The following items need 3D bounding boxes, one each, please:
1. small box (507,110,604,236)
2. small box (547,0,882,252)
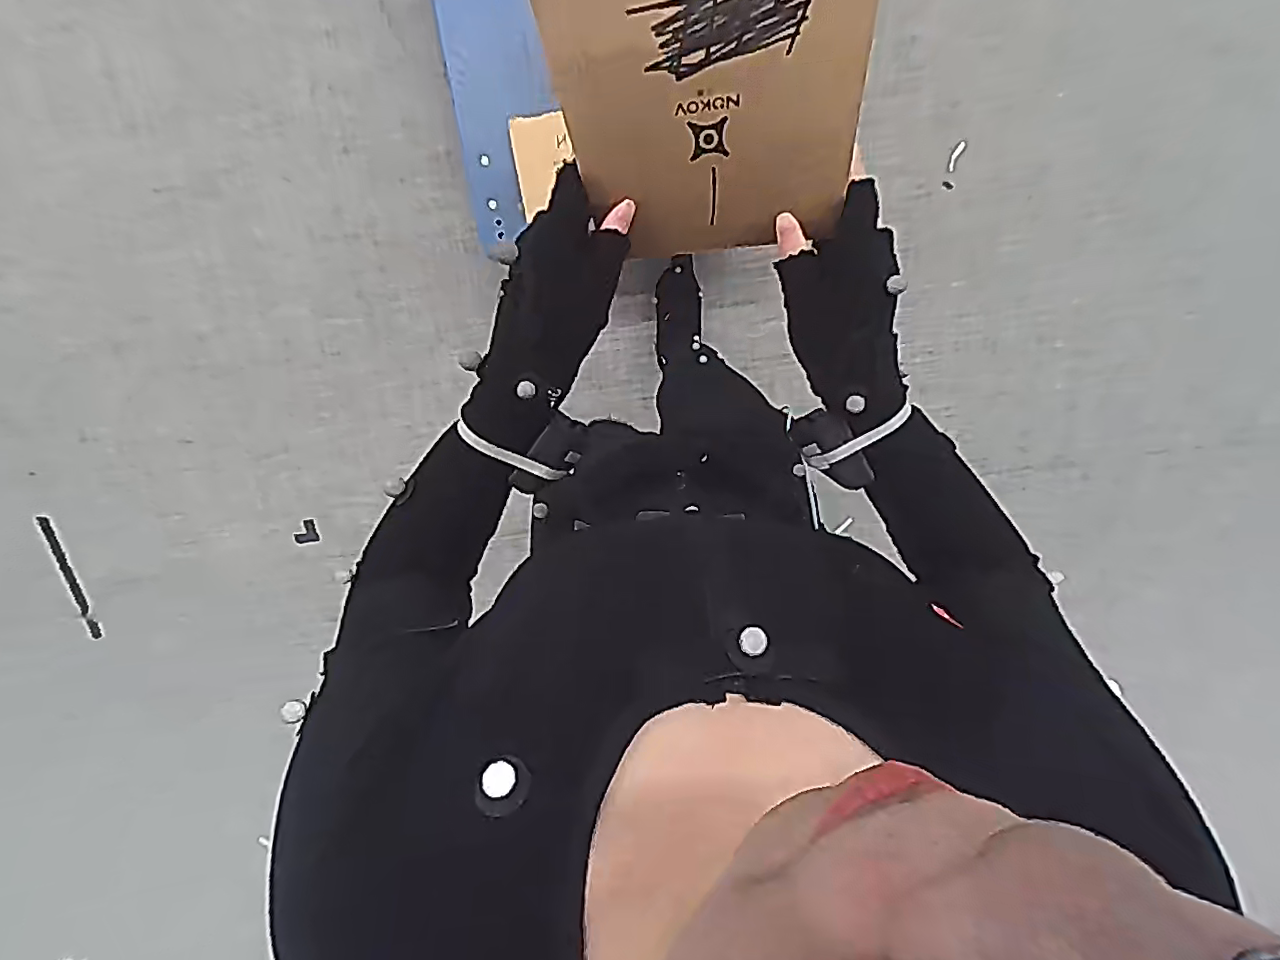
[{"bbox_3d":[-0.136,-0.569,1.022,0.168,0.176,0.179,-8,108,2],"label":"small box"},{"bbox_3d":[0.047,-0.282,0.345,0.168,0.176,0.179,-2,152,11],"label":"small box"}]
